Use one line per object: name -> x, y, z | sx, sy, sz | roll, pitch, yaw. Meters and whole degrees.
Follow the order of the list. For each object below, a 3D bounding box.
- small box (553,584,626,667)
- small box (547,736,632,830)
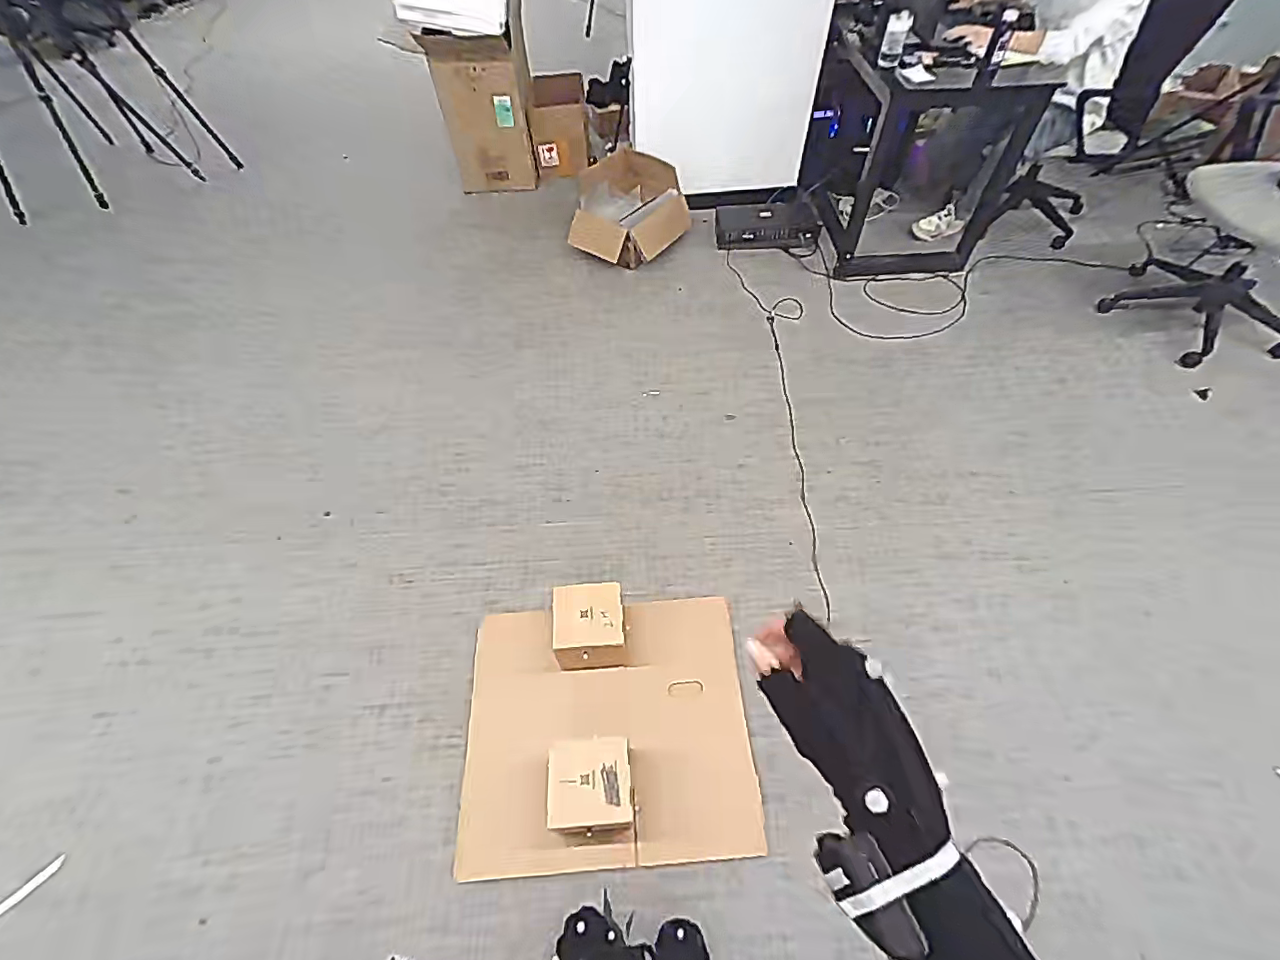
small box -> -0.129, 0.386, 1.423 | 0.179, 0.176, 0.168 | -3, 55, -2
small box -> -0.108, 0.681, 1.213 | 0.179, 0.176, 0.168 | -4, 54, -1
